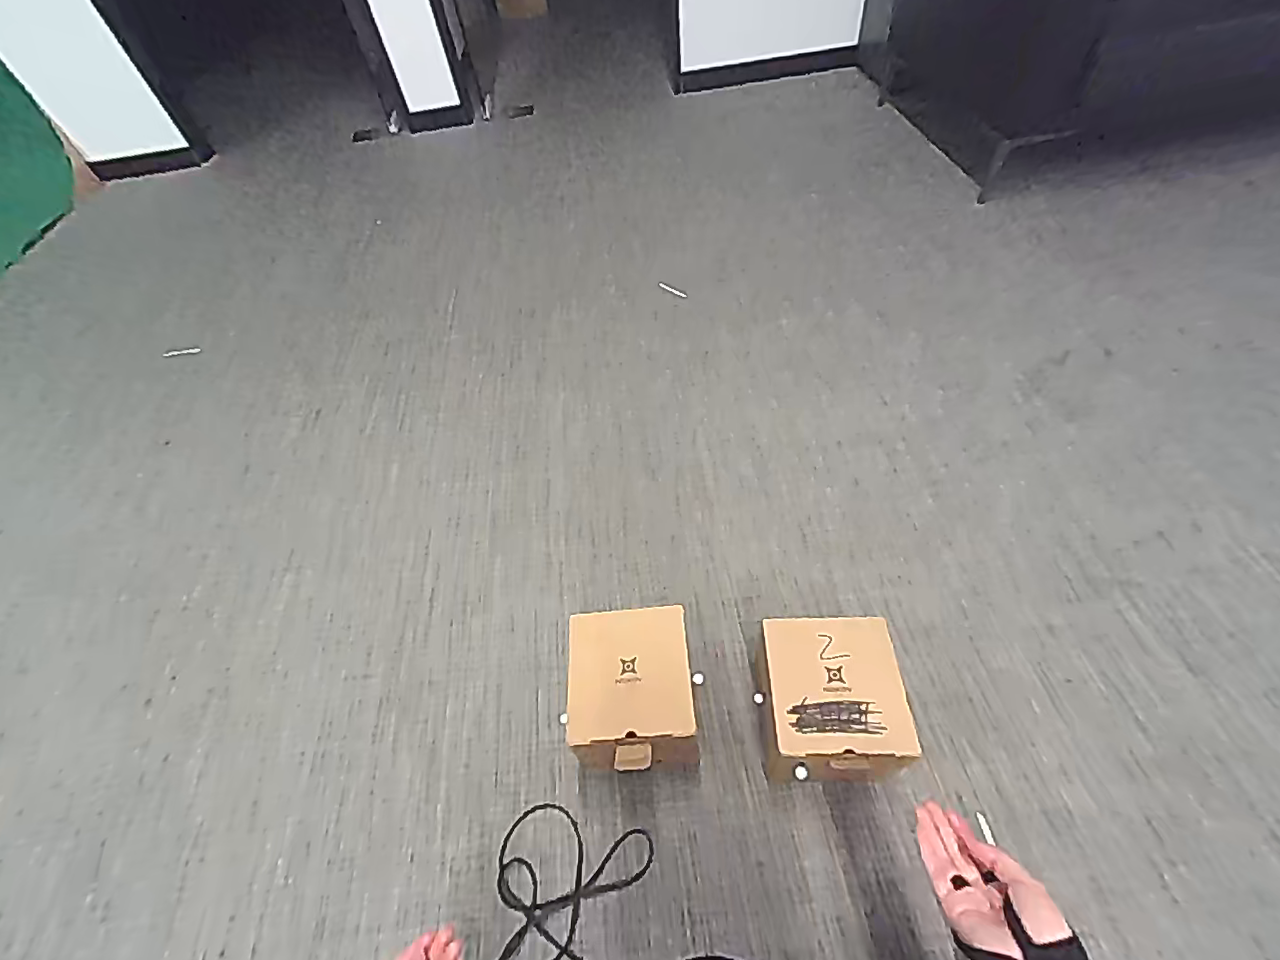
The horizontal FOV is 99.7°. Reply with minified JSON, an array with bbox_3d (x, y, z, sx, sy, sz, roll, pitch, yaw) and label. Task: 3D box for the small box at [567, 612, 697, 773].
[{"bbox_3d":[-0.007,0.312,0.790,0.168,0.176,0.179,-6,53,3],"label":"small box"}]
